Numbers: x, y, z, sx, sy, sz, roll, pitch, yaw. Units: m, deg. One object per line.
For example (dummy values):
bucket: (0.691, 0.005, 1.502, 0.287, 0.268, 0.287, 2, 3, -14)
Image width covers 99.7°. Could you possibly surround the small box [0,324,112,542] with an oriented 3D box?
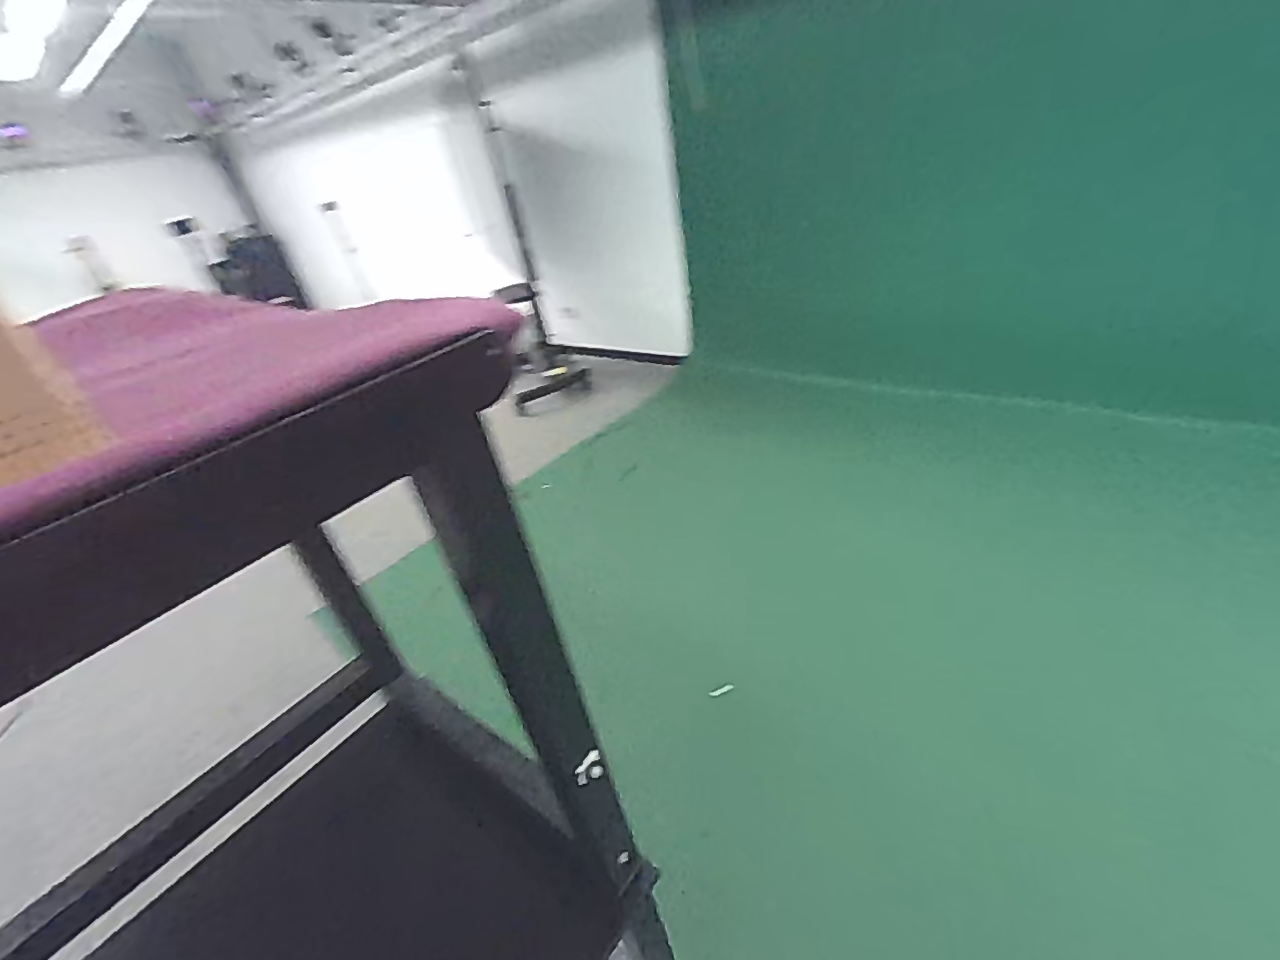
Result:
small box: (-0.390, -0.043, 0.234, 0.179, 0.176, 0.168, 19, 43, 37)
